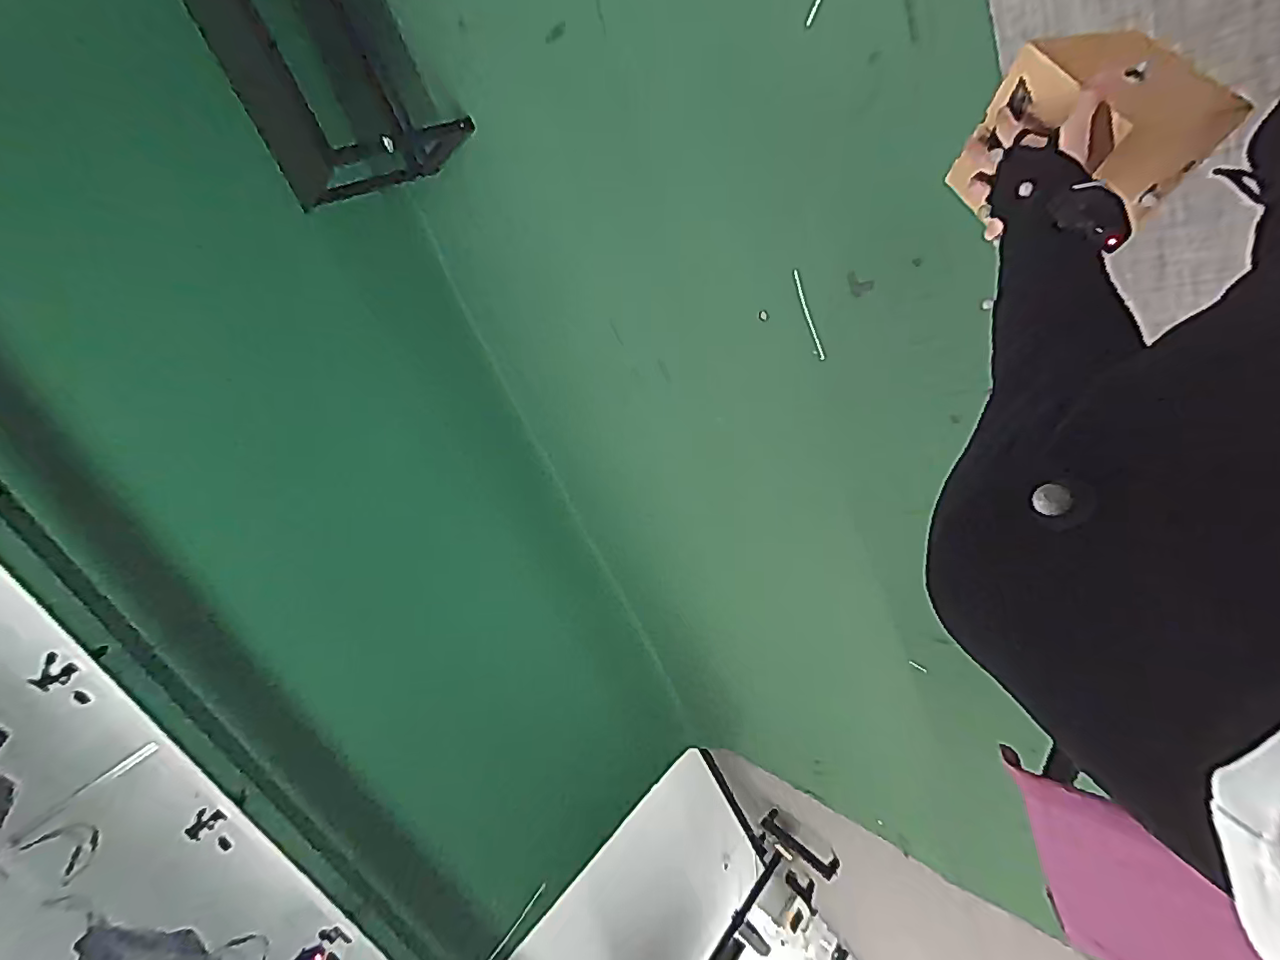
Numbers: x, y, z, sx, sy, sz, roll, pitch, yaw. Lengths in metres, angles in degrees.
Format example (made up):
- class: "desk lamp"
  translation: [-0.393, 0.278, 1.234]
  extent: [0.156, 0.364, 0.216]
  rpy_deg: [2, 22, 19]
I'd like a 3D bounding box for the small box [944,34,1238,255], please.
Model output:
- class: "small box"
  translation: [0.528, -0.407, 0.657]
  extent: [0.168, 0.176, 0.179]
  rpy_deg: [97, 155, -61]
